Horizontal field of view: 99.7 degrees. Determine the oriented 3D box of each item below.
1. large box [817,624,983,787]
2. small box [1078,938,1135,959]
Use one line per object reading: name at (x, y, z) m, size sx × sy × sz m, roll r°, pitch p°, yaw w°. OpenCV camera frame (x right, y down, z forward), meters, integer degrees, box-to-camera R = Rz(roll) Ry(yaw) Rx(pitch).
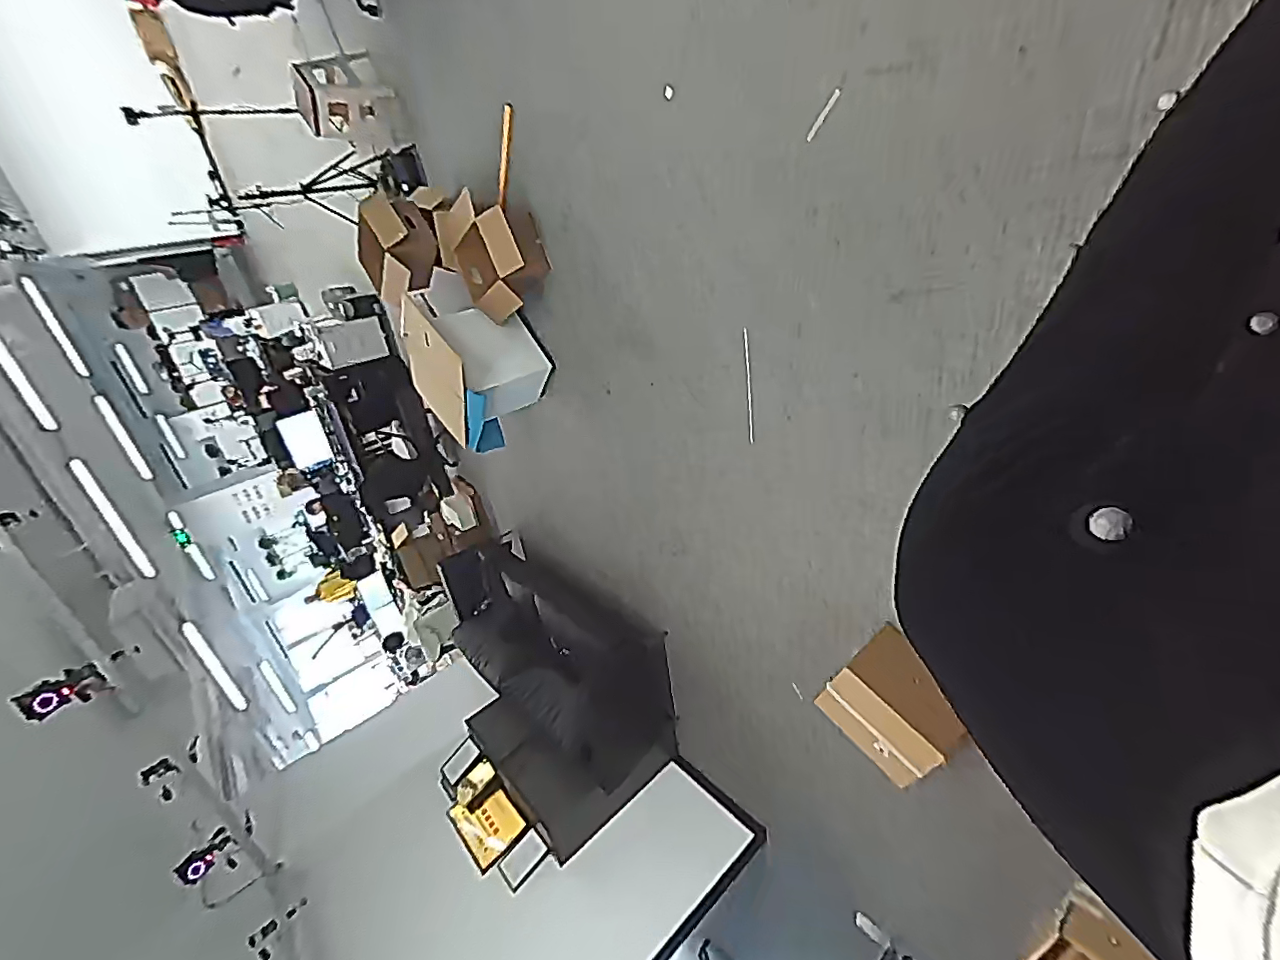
large box at (0.958, 0.830, 2.025) m, size 0.408 × 0.320 × 0.320 m, roll 41°, pitch 142°, yaw 27°
small box at (1.224, 1.341, 1.385) m, size 0.168 × 0.176 × 0.179 m, roll 30°, pitch 134°, yaw 40°
